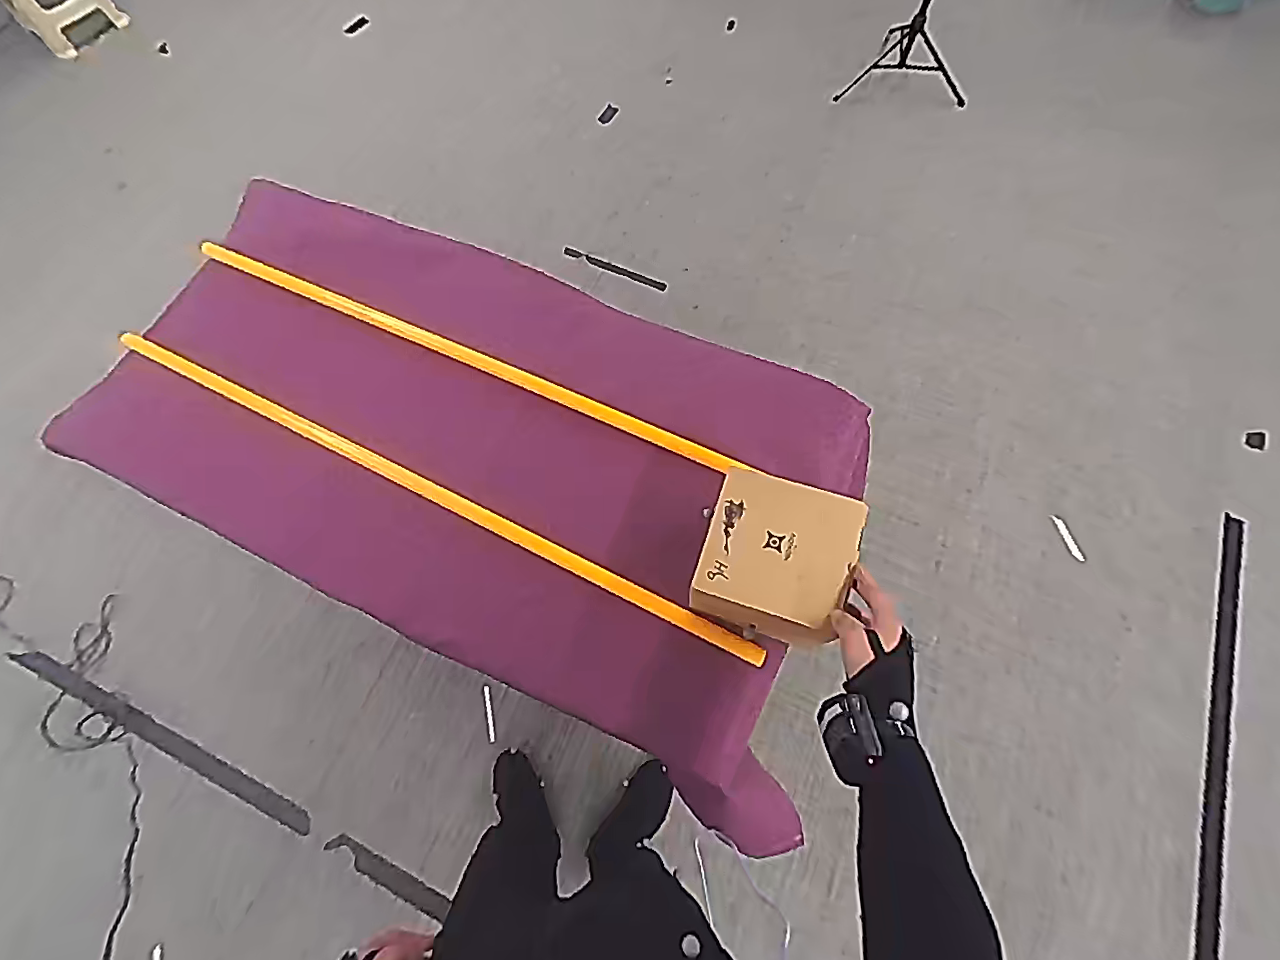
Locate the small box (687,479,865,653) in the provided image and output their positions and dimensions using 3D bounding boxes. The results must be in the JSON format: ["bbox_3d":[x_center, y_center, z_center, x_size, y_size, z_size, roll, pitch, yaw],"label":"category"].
[{"bbox_3d":[0.170,0.122,0.721,0.179,0.176,0.168,18,71,11],"label":"small box"}]
